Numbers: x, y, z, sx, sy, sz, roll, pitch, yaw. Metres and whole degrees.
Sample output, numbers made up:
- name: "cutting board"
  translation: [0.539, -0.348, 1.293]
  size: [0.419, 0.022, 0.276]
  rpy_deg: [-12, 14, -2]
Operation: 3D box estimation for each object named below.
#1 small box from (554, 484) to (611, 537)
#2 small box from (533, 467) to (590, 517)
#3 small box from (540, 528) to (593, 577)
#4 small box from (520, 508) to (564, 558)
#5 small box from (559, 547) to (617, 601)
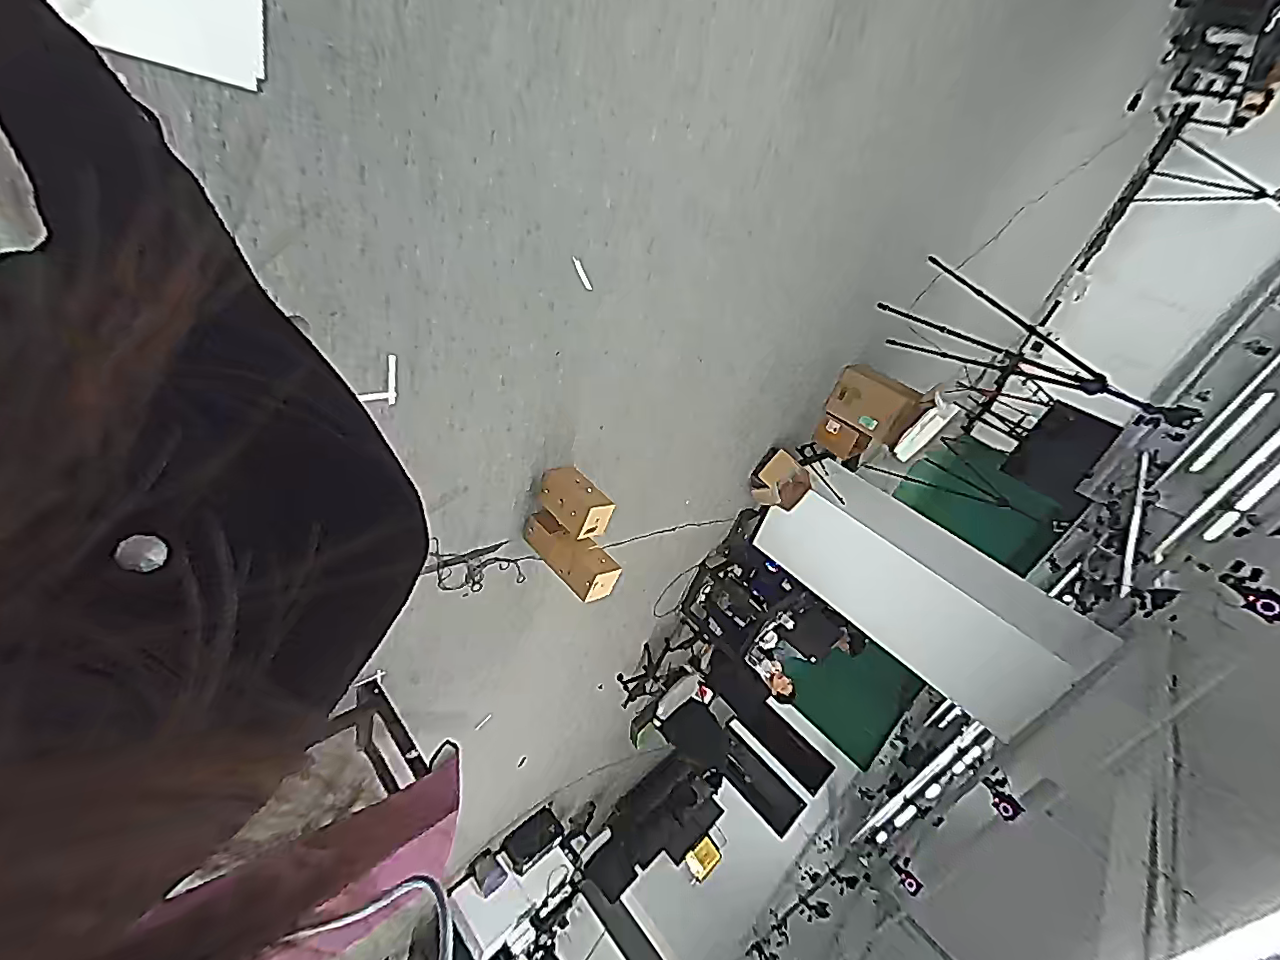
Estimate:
- name: "small box"
  translation: [-0.271, 0.136, 2.472]
  size: [0.168, 0.176, 0.179]
  rpy_deg: [-6, 128, -52]
- name: "small box"
  translation: [-0.375, 0.048, 2.566]
  size: [0.179, 0.176, 0.168]
  rpy_deg: [-10, 131, -49]
- name: "small box"
  translation: [-0.355, 0.341, 2.593]
  size: [0.168, 0.176, 0.179]
  rpy_deg: [-14, 134, -47]
- name: "small box"
  translation: [-0.465, 0.252, 2.673]
  size: [0.179, 0.176, 0.168]
  rpy_deg: [-16, 135, -46]
- name: "small box"
  translation: [-0.244, 0.429, 2.510]
  size: [0.179, 0.176, 0.168]
  rpy_deg: [-7, 128, -53]
